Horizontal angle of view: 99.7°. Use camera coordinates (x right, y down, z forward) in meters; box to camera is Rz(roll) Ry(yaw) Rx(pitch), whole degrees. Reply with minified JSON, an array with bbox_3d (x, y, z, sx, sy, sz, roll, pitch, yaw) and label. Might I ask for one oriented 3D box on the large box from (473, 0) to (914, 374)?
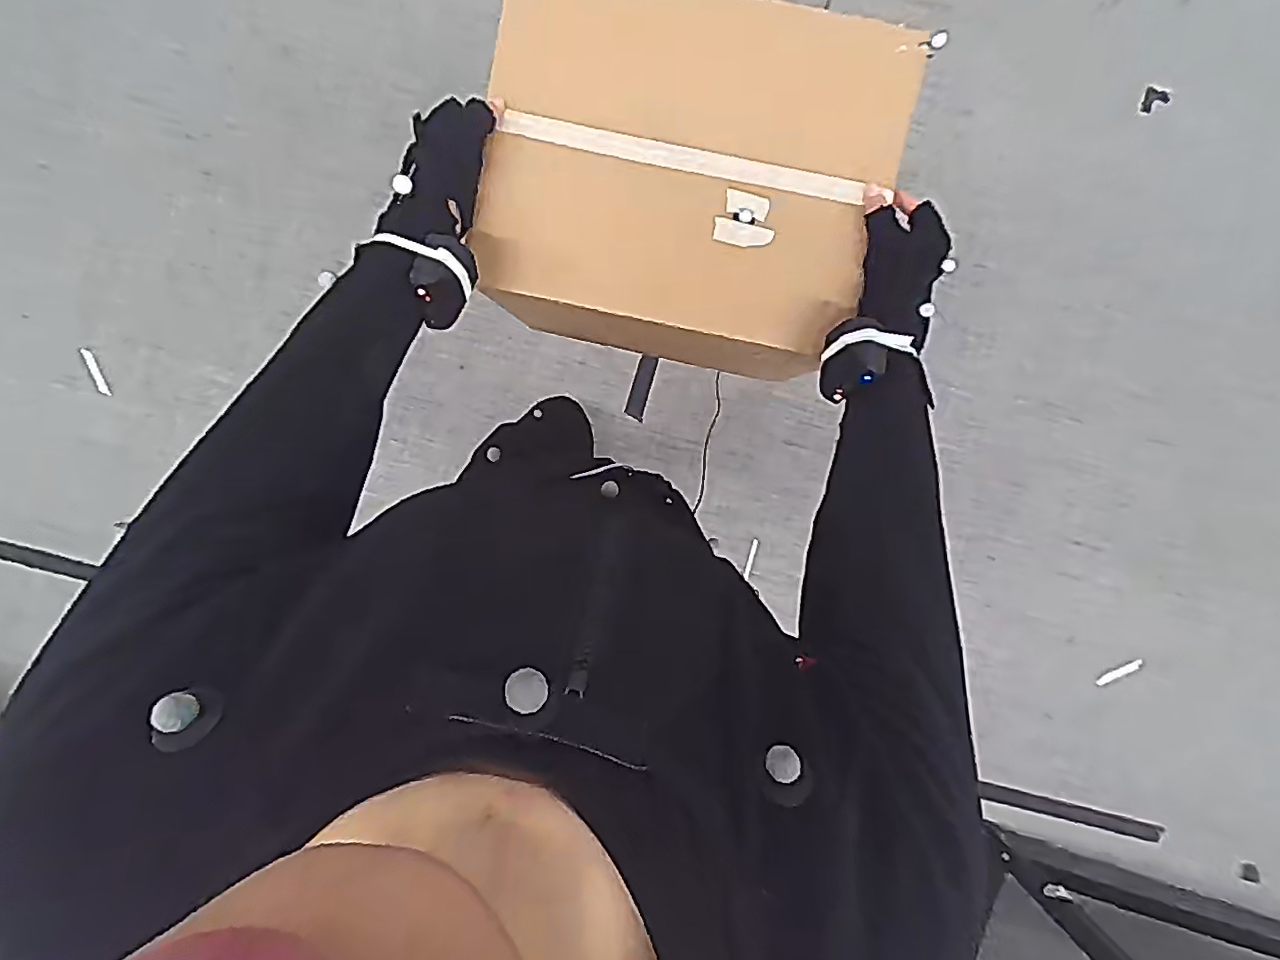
[{"bbox_3d":[0.048,-0.335,0.690,0.408,0.320,0.320,11,97,-1],"label":"large box"}]
